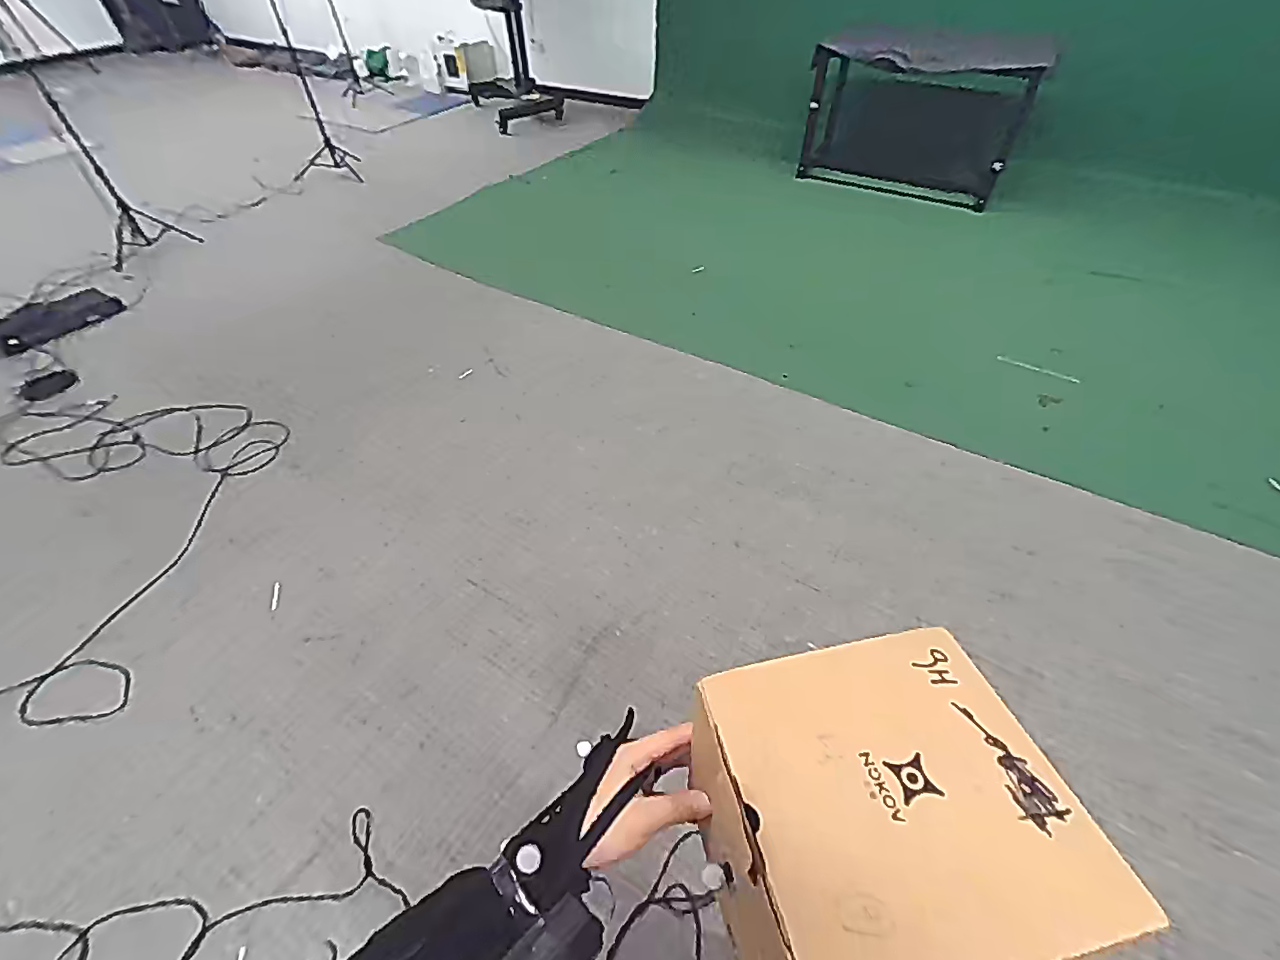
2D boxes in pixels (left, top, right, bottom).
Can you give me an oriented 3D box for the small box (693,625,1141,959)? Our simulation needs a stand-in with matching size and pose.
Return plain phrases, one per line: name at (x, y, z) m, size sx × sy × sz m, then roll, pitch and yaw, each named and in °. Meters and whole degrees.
small box at (0.138, 0.224, 0.350) m, size 0.179 × 0.176 × 0.168 m, roll -9°, pitch 41°, yaw -9°
